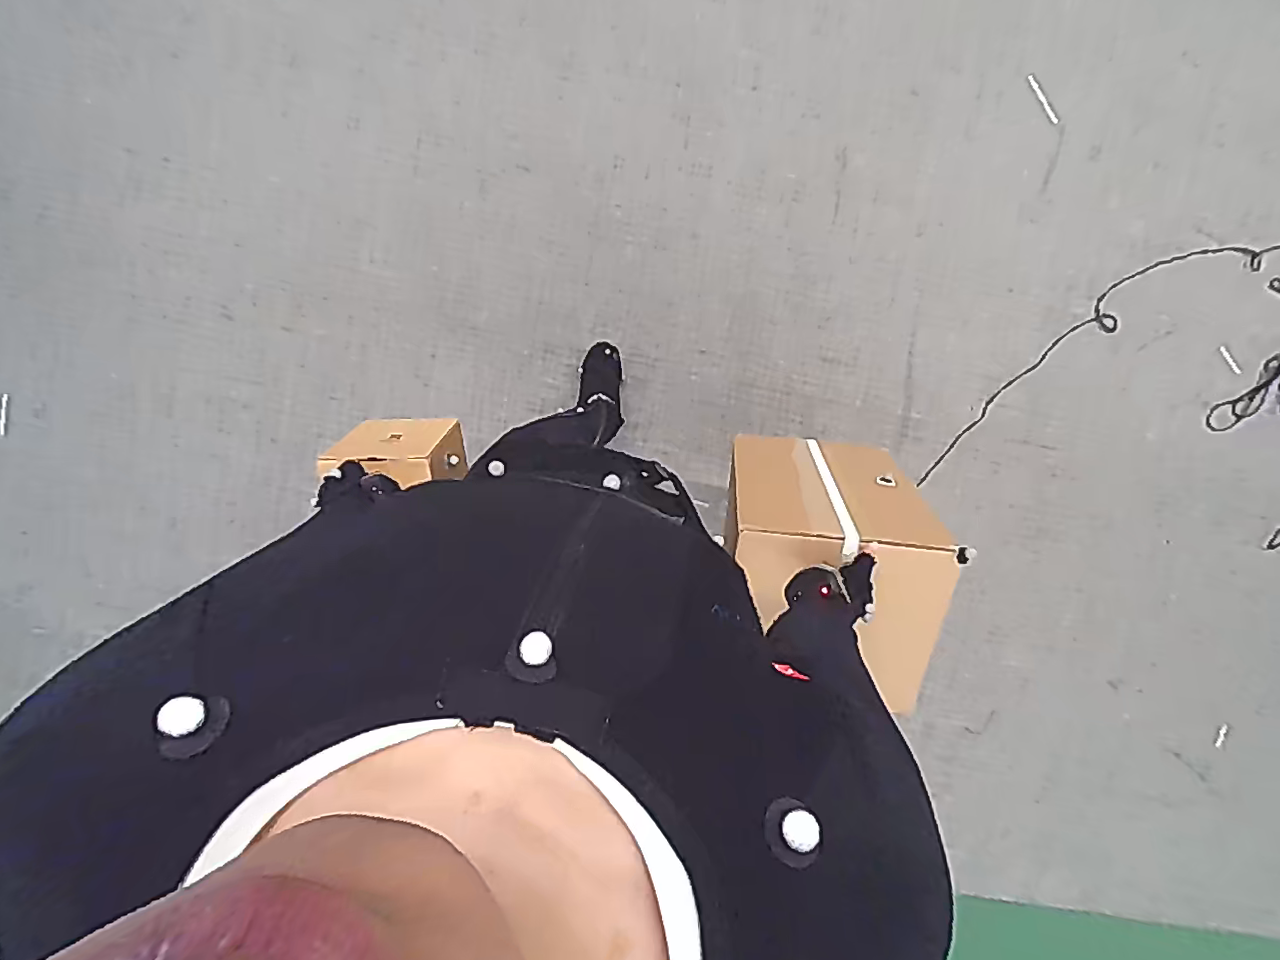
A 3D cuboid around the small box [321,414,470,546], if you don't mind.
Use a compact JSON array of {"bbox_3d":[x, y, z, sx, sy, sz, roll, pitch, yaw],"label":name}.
[{"bbox_3d":[-0.395,-0.005,0.909,0.168,0.179,0.176,-1,117,-1],"label":"small box"}]
